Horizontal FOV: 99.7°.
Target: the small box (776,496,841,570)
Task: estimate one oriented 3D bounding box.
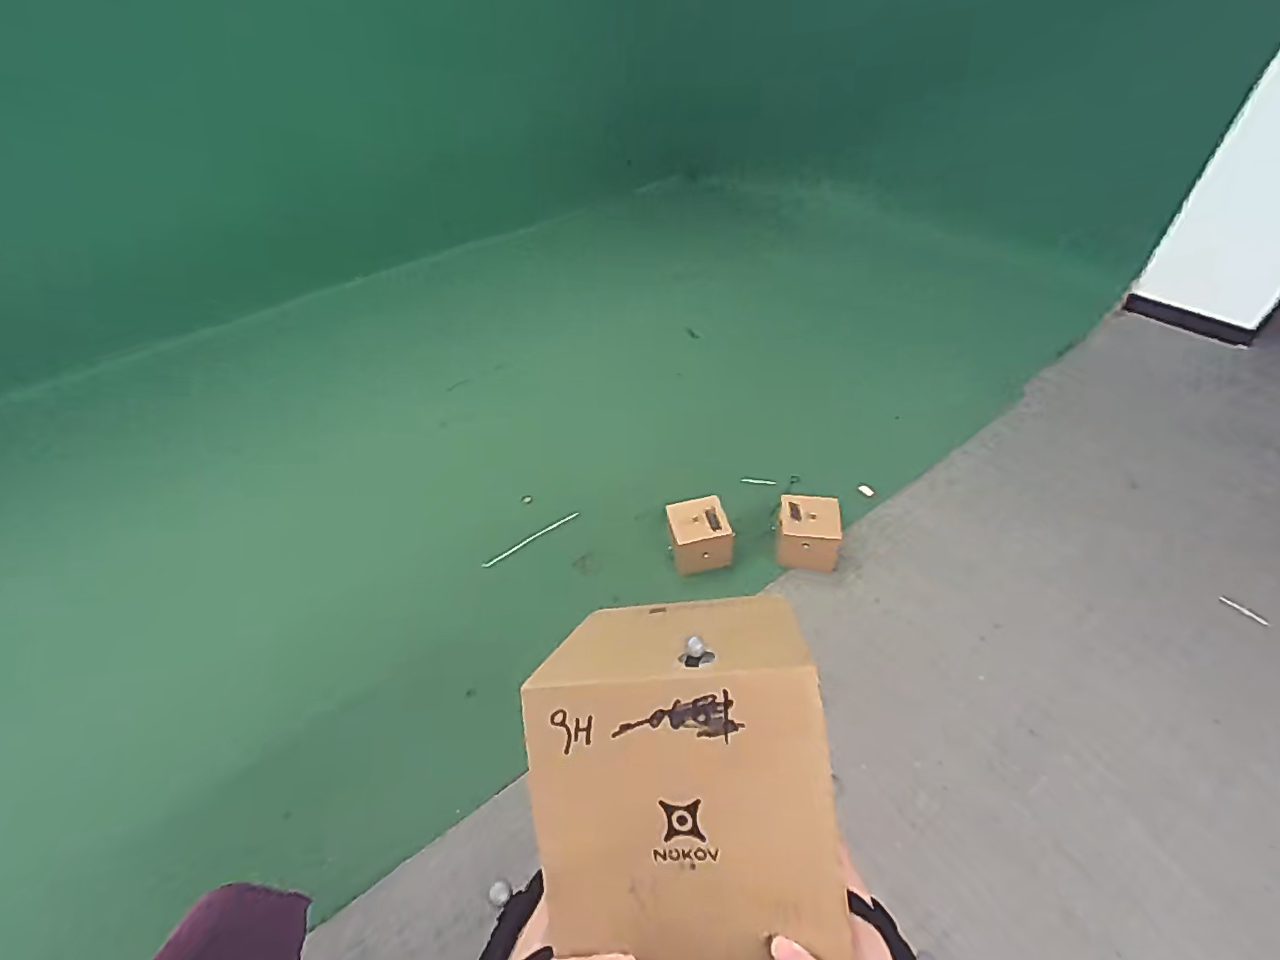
[{"bbox_3d":[0.527,0.170,1.721,0.179,0.176,0.168,4,47,9],"label":"small box"}]

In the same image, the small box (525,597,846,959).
[{"bbox_3d":[0.037,0.192,0.374,0.168,0.176,0.179,-7,91,10],"label":"small box"}]
